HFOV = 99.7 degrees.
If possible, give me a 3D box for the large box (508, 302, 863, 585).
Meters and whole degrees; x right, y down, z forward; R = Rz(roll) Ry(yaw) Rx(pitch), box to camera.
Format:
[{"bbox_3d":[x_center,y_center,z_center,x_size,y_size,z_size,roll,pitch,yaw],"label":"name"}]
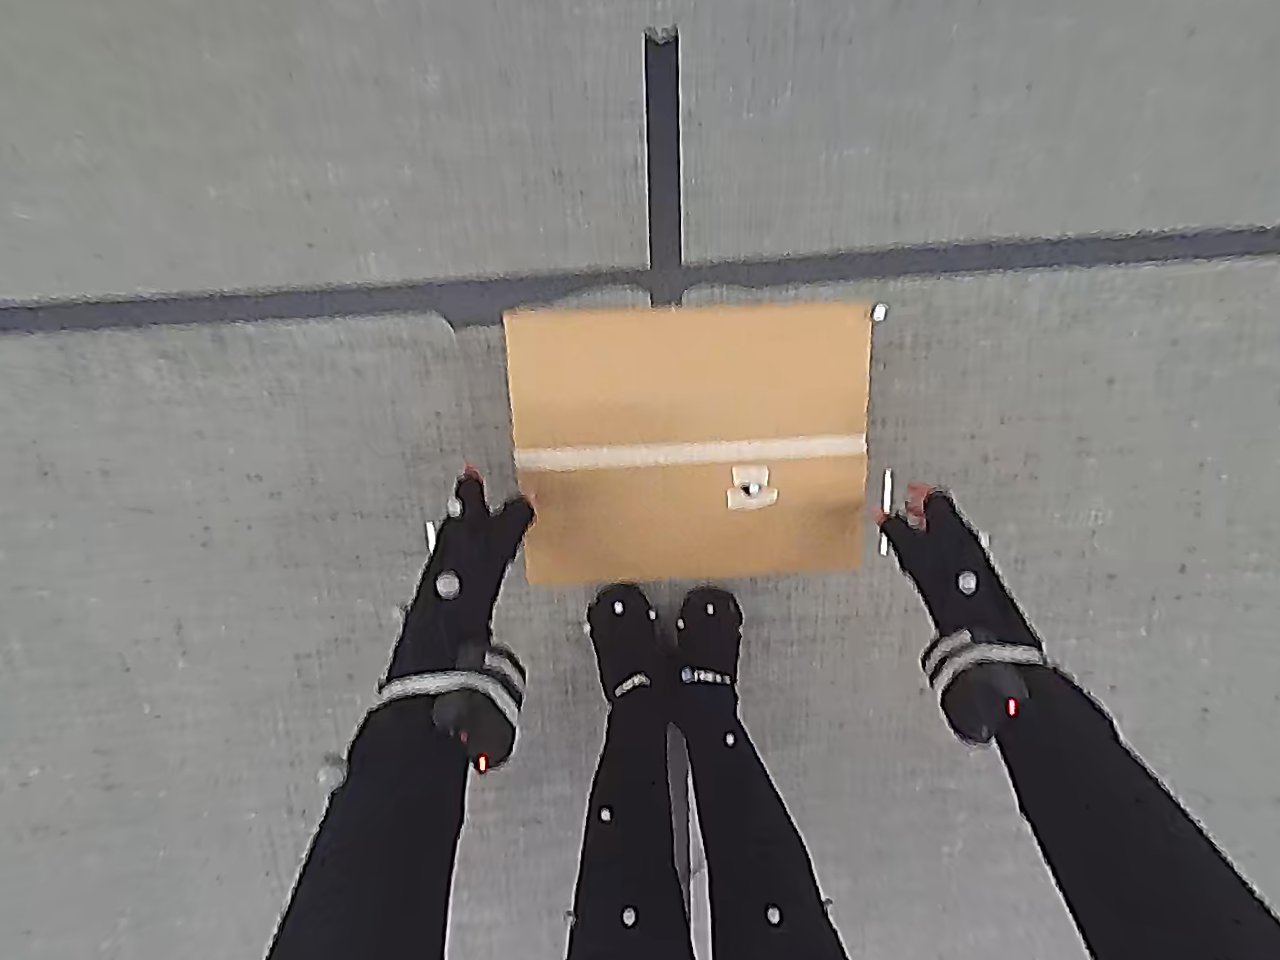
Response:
[{"bbox_3d":[0.051,-0.066,0.772,0.408,0.320,0.320,-3,103,-3],"label":"large box"}]
